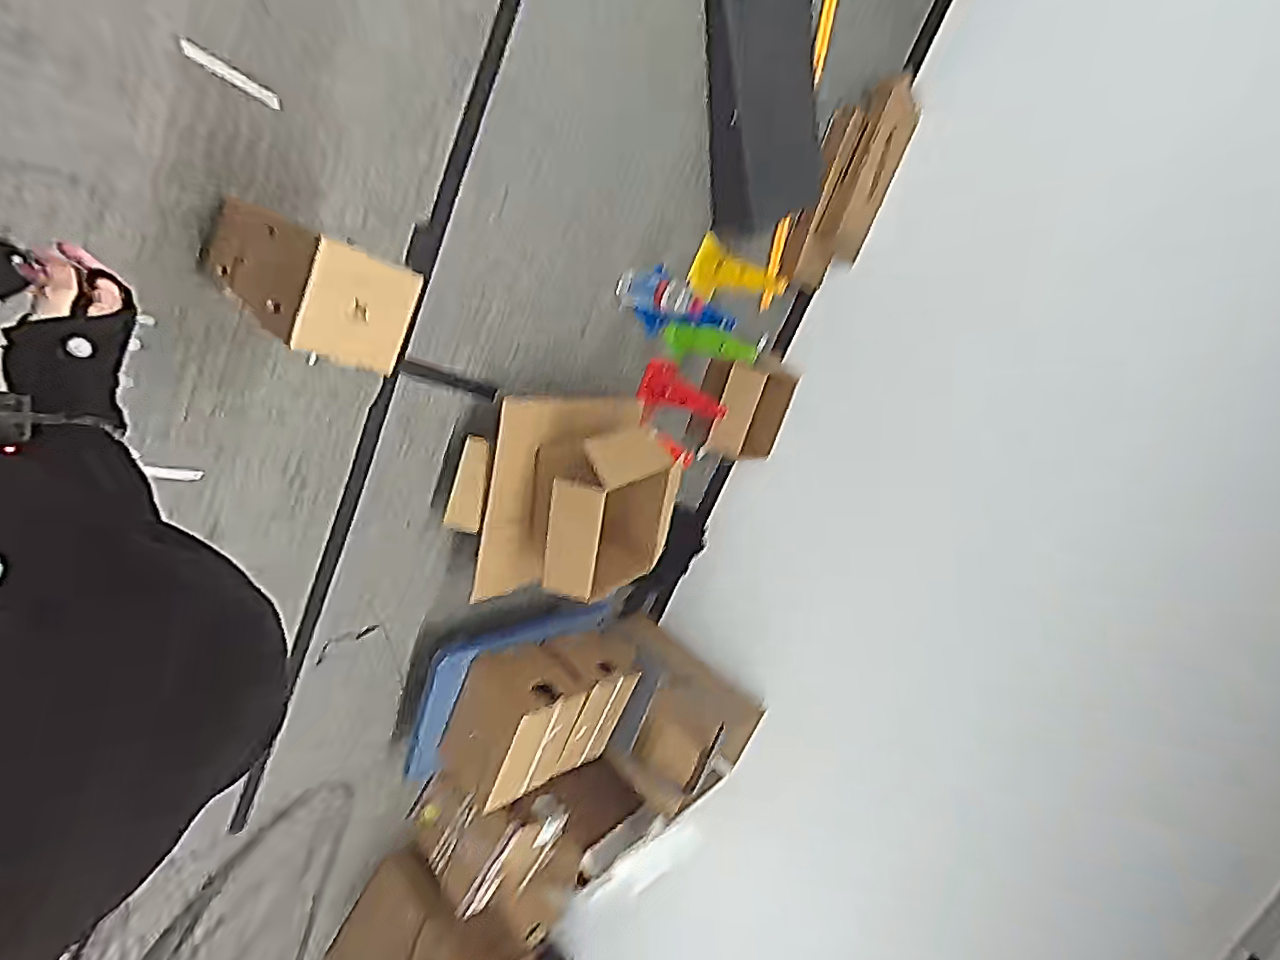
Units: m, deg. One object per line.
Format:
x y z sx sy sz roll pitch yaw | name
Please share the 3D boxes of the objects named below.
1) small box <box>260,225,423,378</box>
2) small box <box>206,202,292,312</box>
-0.503 -0.296 0.905 0.168 0.176 0.179 8 108 -56 | small box
-0.738 -0.431 1.089 0.168 0.176 0.179 12 106 -55 | small box
